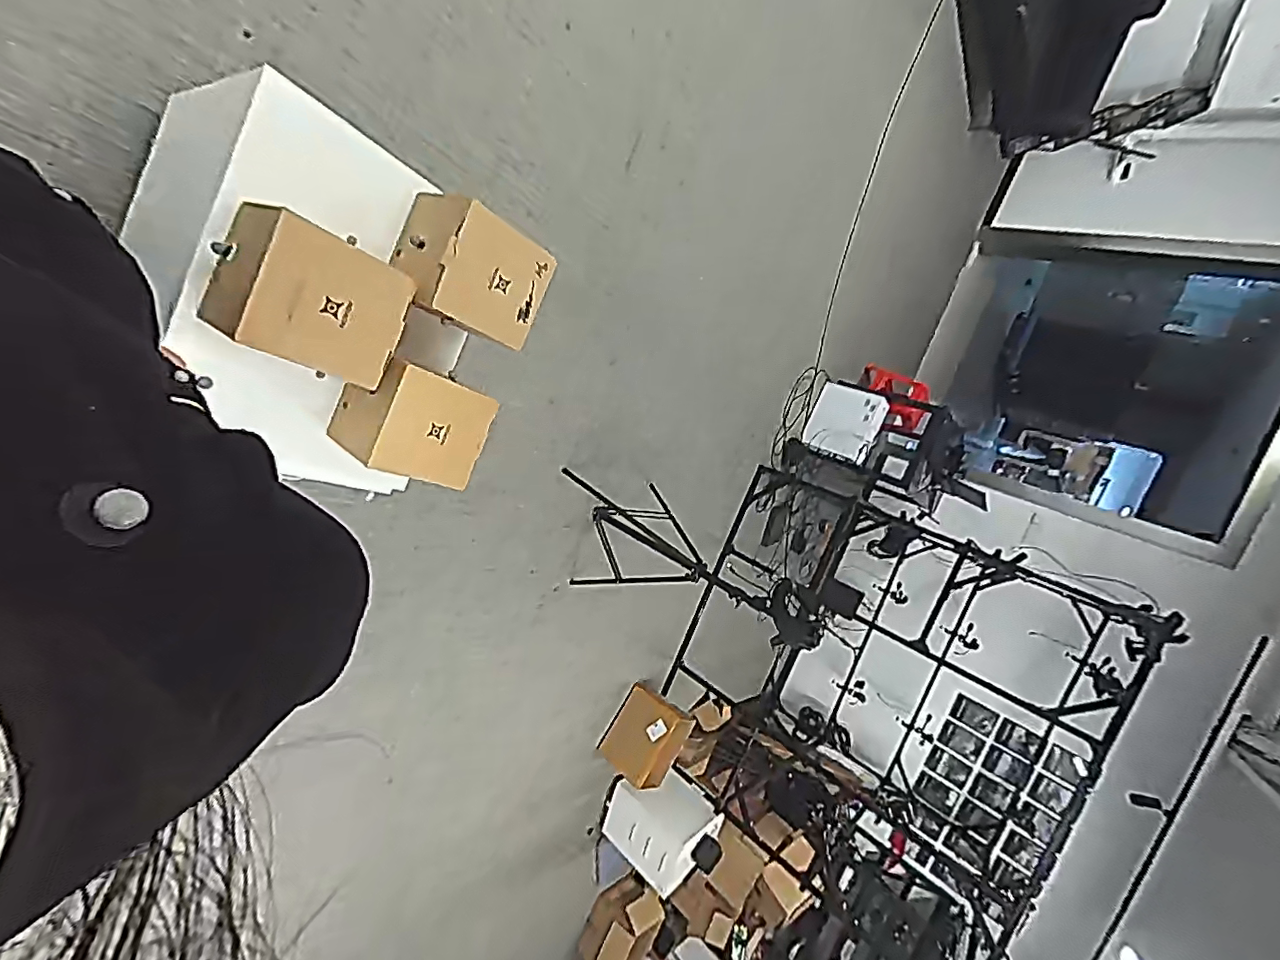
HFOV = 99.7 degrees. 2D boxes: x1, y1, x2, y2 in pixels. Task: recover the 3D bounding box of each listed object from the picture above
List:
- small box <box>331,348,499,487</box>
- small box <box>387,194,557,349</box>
[{"bbox_3d":[-0.375,-0.106,0.895,0.179,0.176,0.168,20,95,-53],"label":"small box"},{"bbox_3d":[-0.275,-0.336,0.876,0.179,0.176,0.168,20,96,-52],"label":"small box"}]
